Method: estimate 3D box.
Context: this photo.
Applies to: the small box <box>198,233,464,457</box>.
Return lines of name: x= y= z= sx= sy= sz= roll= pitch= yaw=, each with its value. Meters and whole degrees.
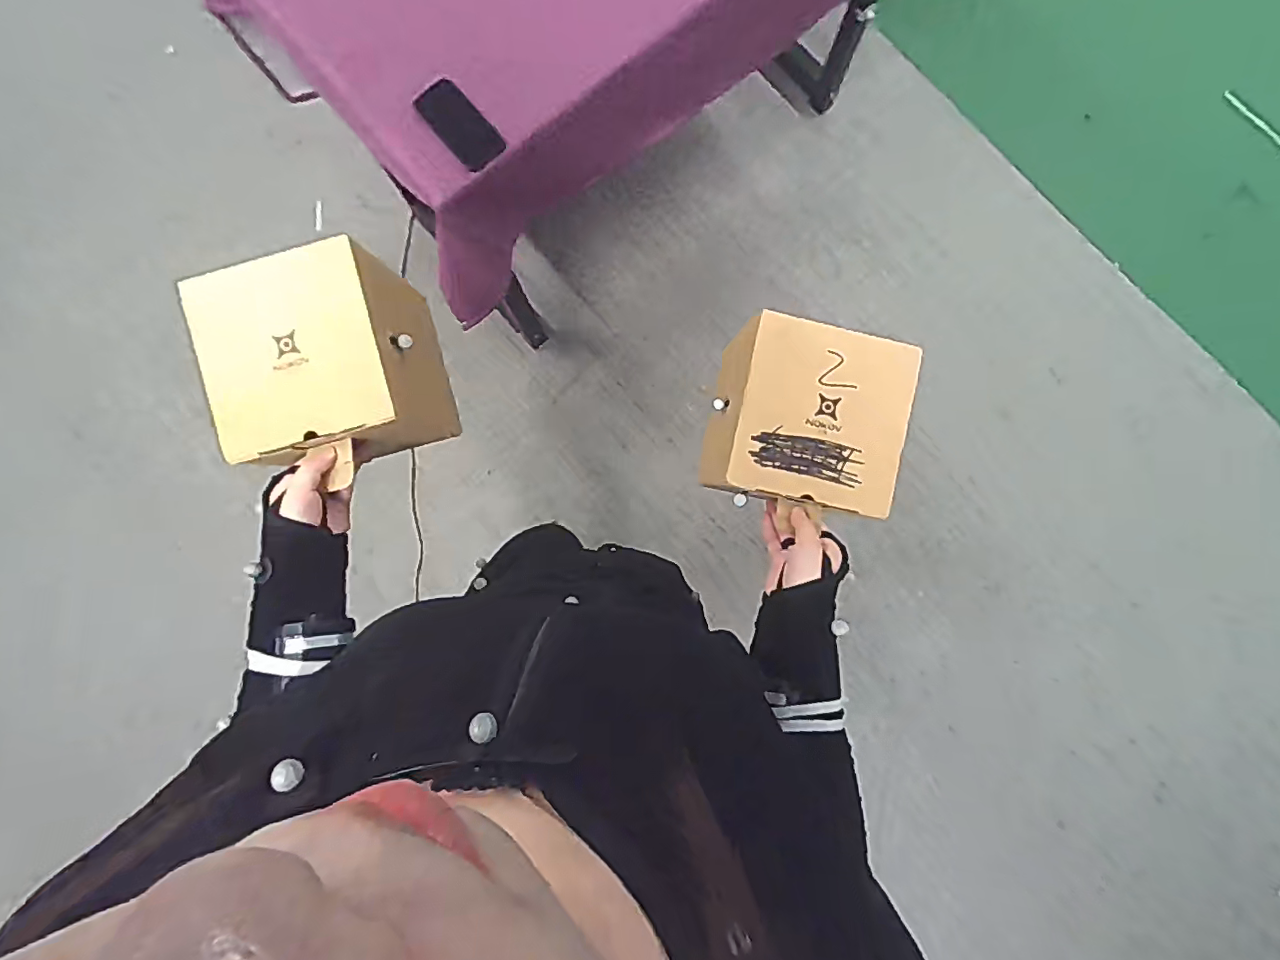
small box: x=-0.311 y=-0.128 z=0.580 sx=0.168 sy=0.176 sz=0.179 roll=-14 pitch=91 yaw=2
